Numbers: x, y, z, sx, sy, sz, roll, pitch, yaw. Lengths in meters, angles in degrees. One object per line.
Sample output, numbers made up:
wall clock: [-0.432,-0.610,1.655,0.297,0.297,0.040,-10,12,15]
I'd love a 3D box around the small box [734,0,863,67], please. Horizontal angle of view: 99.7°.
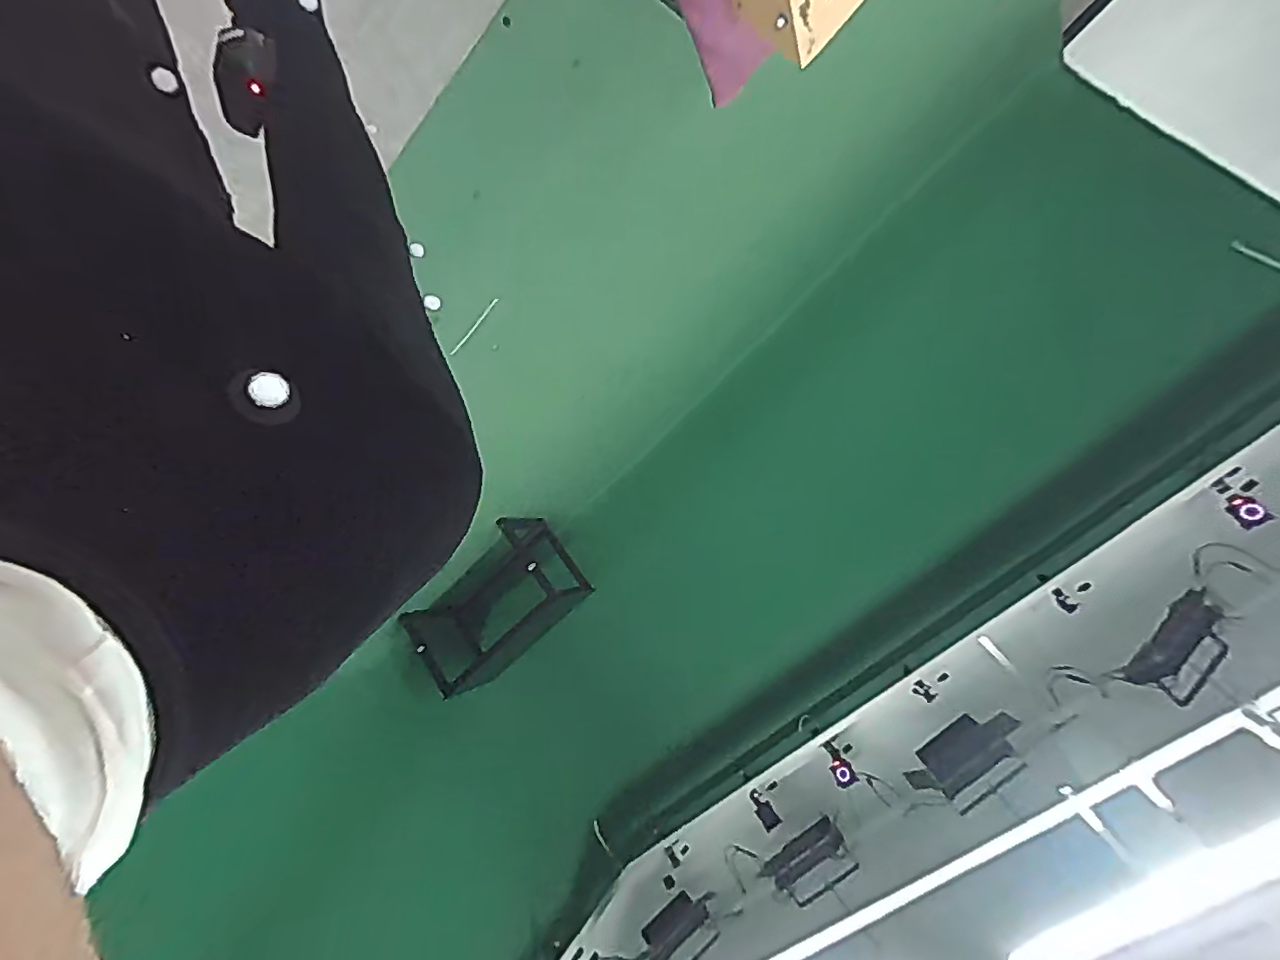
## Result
small box: [0.263,-0.844,0.876,0.179,0.176,0.168,-46,160,14]
